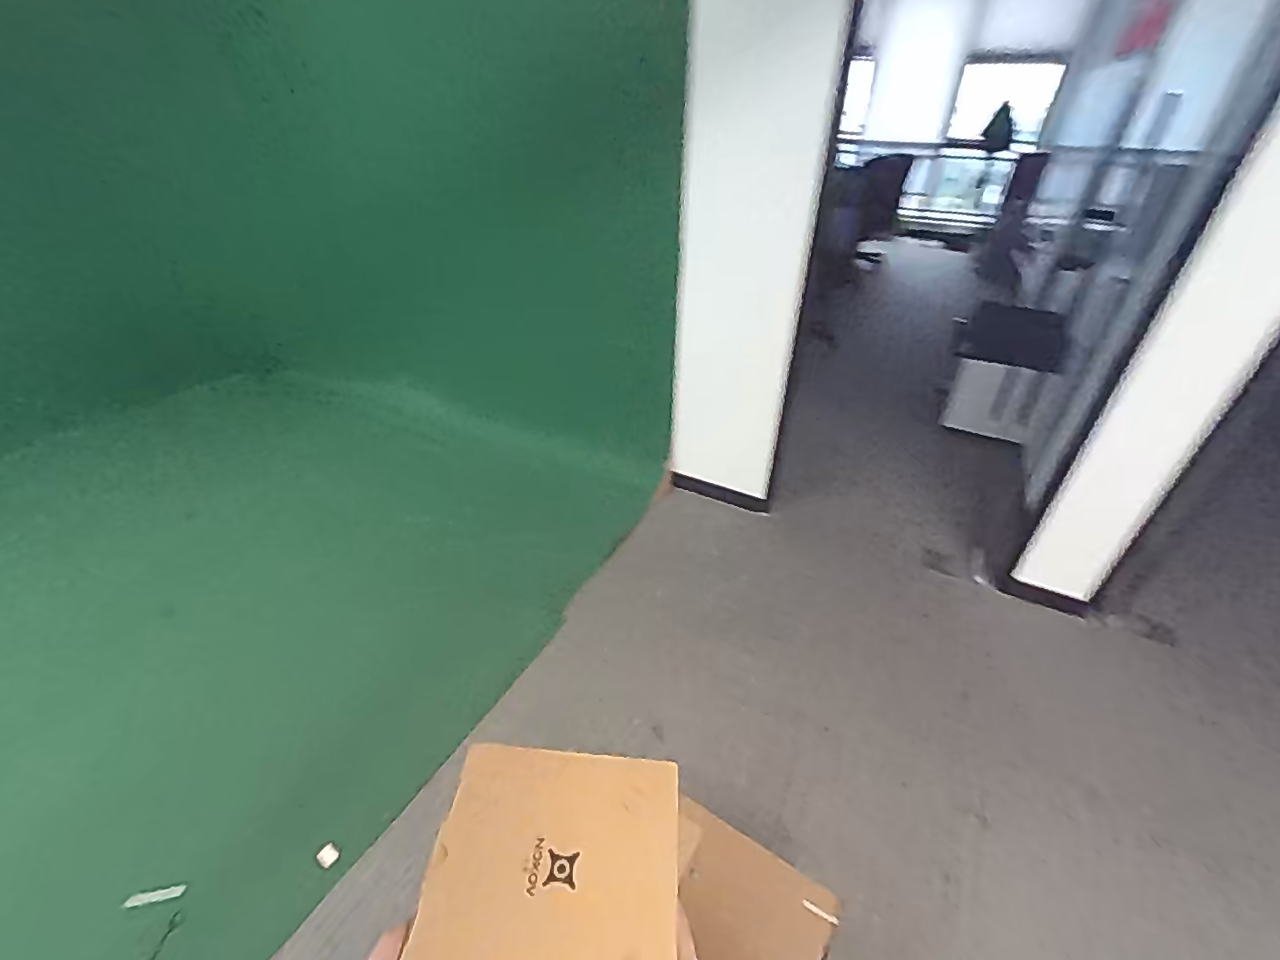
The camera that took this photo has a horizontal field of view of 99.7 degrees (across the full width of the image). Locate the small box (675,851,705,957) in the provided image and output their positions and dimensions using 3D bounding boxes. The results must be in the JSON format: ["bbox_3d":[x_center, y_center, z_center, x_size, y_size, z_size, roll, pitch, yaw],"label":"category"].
[{"bbox_3d":[-0.006,0.745,0.939,0.168,0.176,0.179,23,39,30],"label":"small box"}]

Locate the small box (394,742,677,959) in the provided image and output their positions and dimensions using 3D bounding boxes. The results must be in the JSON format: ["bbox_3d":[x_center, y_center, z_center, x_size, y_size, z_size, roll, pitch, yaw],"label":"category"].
[{"bbox_3d":[-0.068,0.335,0.422,0.179,0.176,0.168,5,35,0],"label":"small box"}]
